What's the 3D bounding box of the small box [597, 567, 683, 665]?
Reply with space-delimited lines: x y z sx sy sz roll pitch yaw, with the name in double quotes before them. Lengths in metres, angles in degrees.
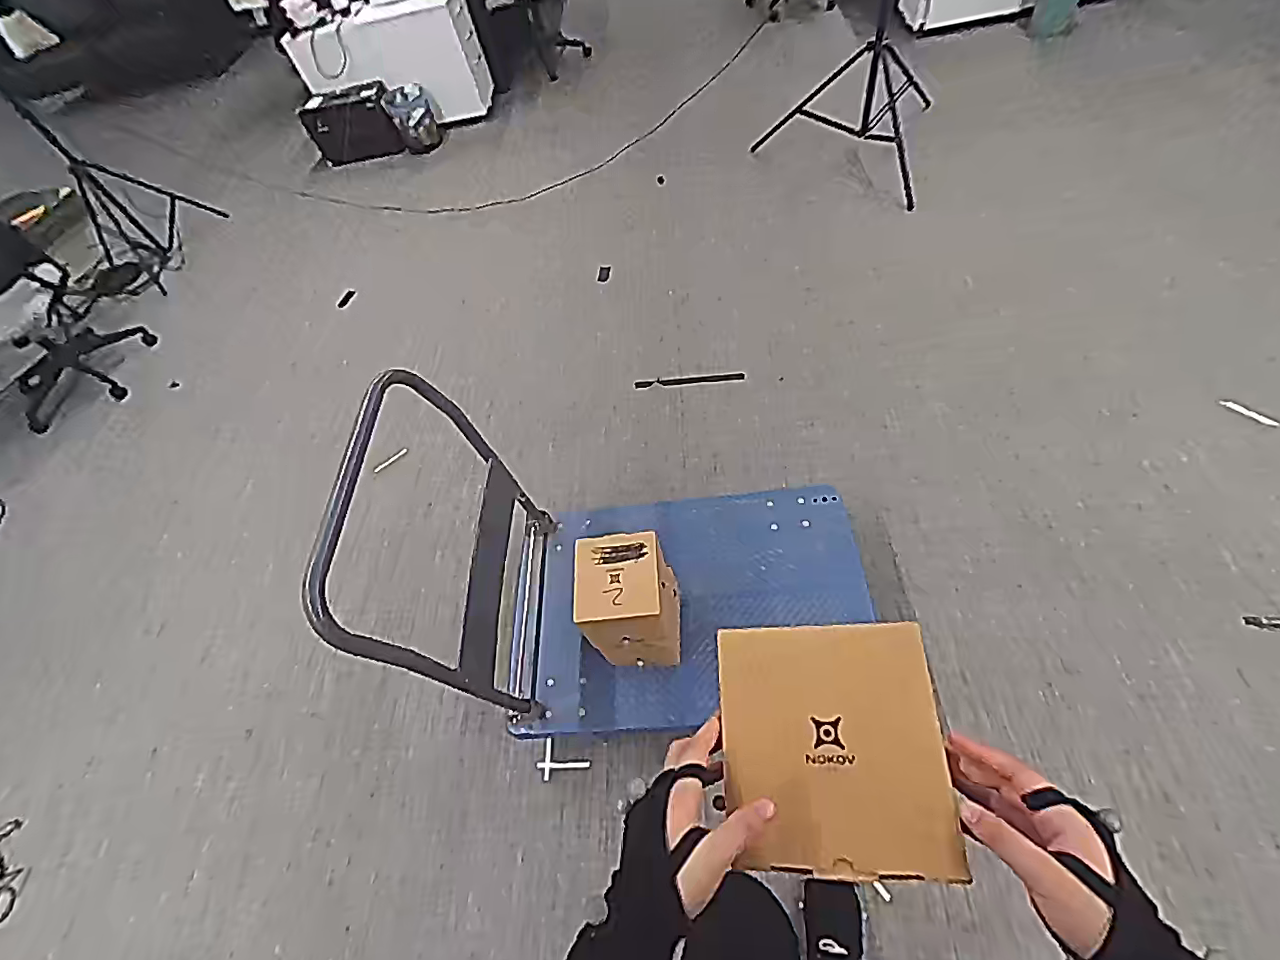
"small box" 0.006 0.313 1.240 0.168 0.176 0.179 -4 57 10
